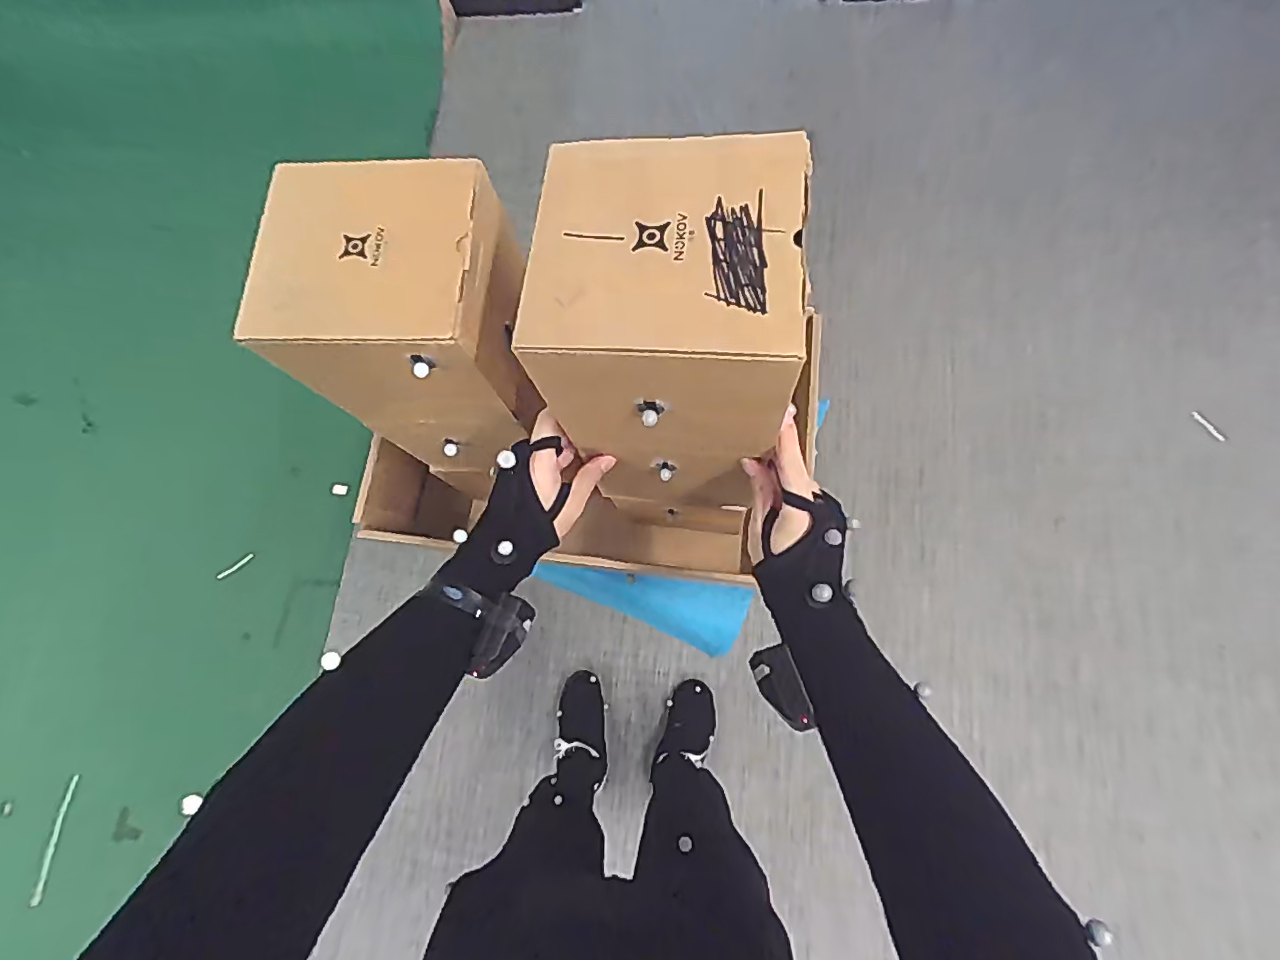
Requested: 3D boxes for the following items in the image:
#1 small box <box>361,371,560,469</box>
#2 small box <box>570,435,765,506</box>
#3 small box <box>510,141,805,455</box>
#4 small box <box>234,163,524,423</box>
[{"bbox_3d":[-0.199,-0.114,0.658,0.179,0.176,0.168,1,75,4],"label":"small box"},{"bbox_3d":[0.040,-0.076,0.574,0.179,0.176,0.168,4,72,8],"label":"small box"},{"bbox_3d":[0.023,-0.125,0.418,0.179,0.176,0.168,3,73,9],"label":"small box"},{"bbox_3d":[-0.214,-0.158,0.501,0.179,0.176,0.168,1,75,3],"label":"small box"}]
